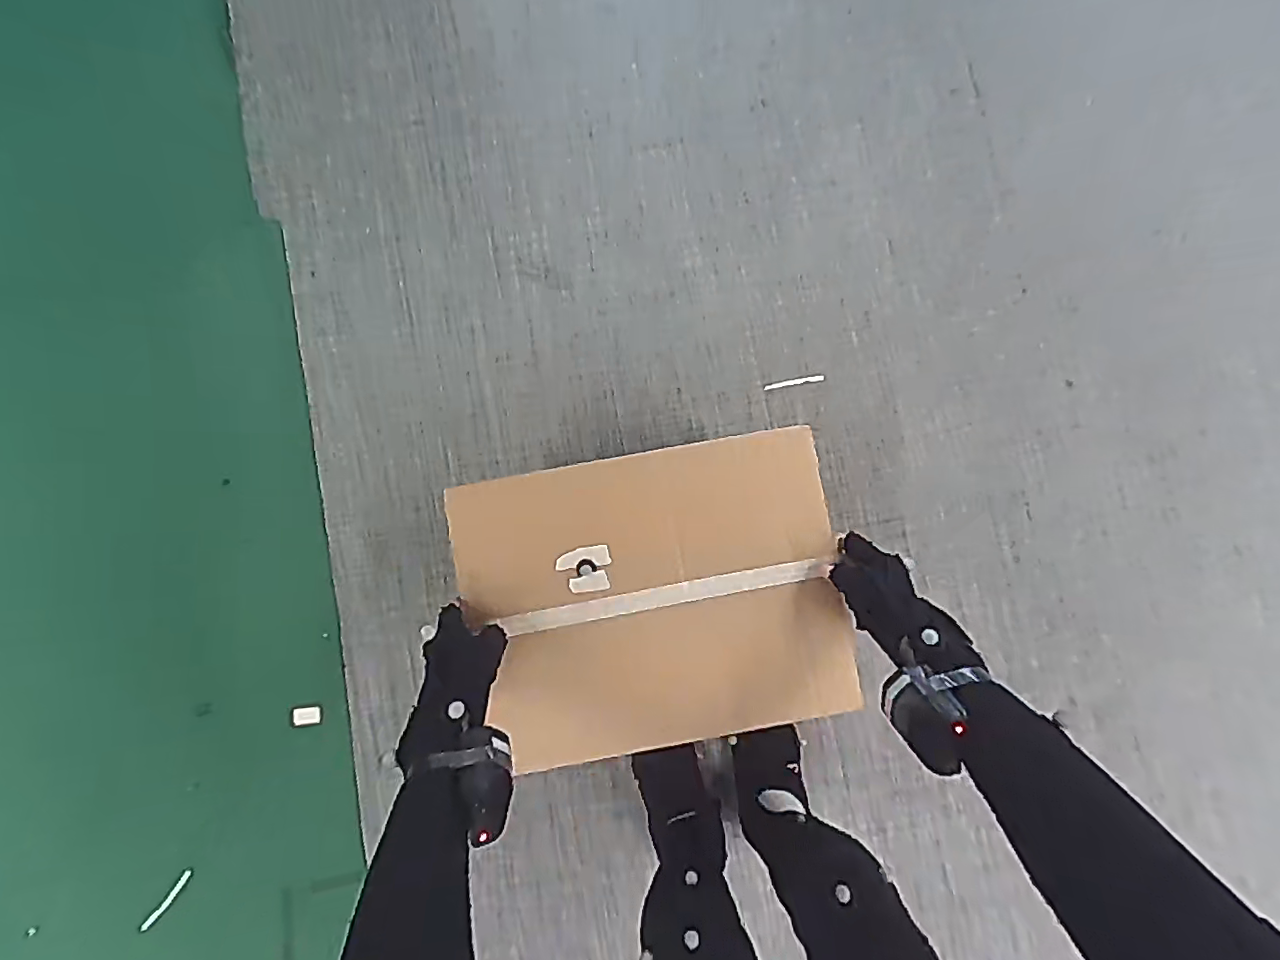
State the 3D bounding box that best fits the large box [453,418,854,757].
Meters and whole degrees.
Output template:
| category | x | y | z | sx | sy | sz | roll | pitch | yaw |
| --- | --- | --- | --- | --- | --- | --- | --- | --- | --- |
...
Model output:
| category | x | y | z | sx | sy | sz | roll | pitch | yaw |
| --- | --- | --- | --- | --- | --- | --- | --- | --- | --- |
| large box | 0.015 | 0.119 | 0.741 | 0.408 | 0.320 | 0.320 | -10 | 88 | -1 |
